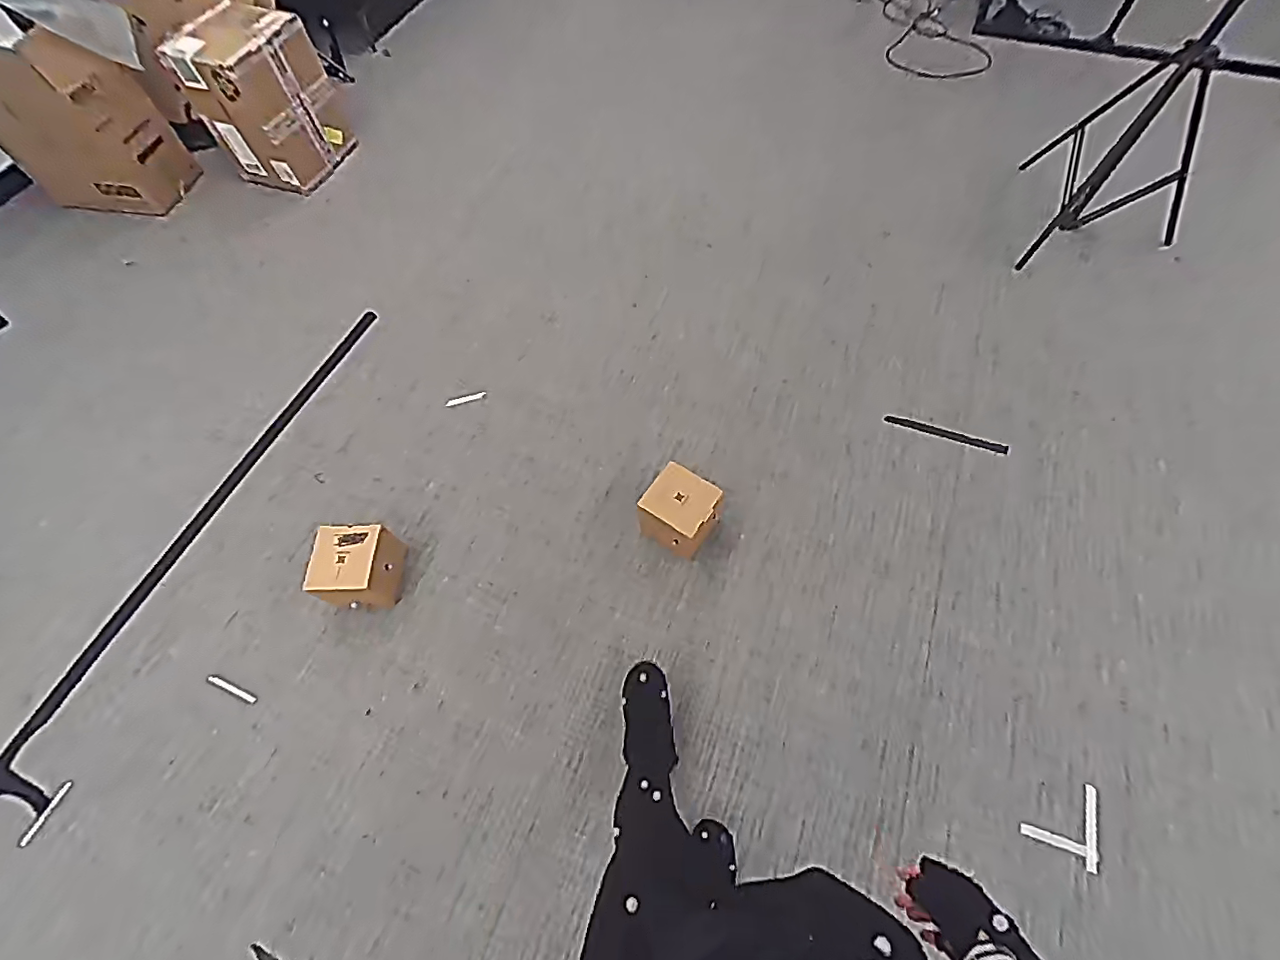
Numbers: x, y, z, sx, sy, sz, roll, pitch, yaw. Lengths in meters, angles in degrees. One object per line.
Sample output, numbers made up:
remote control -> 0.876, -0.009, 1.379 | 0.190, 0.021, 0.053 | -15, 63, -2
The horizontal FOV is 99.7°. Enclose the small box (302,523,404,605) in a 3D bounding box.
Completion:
small box -> -0.754, 0.227, 1.443 | 0.168, 0.176, 0.179 | -1, 64, 2

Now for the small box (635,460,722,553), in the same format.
small box -> 0.105, 0.082, 1.492 | 0.179, 0.176, 0.168 | 31, 66, 17
